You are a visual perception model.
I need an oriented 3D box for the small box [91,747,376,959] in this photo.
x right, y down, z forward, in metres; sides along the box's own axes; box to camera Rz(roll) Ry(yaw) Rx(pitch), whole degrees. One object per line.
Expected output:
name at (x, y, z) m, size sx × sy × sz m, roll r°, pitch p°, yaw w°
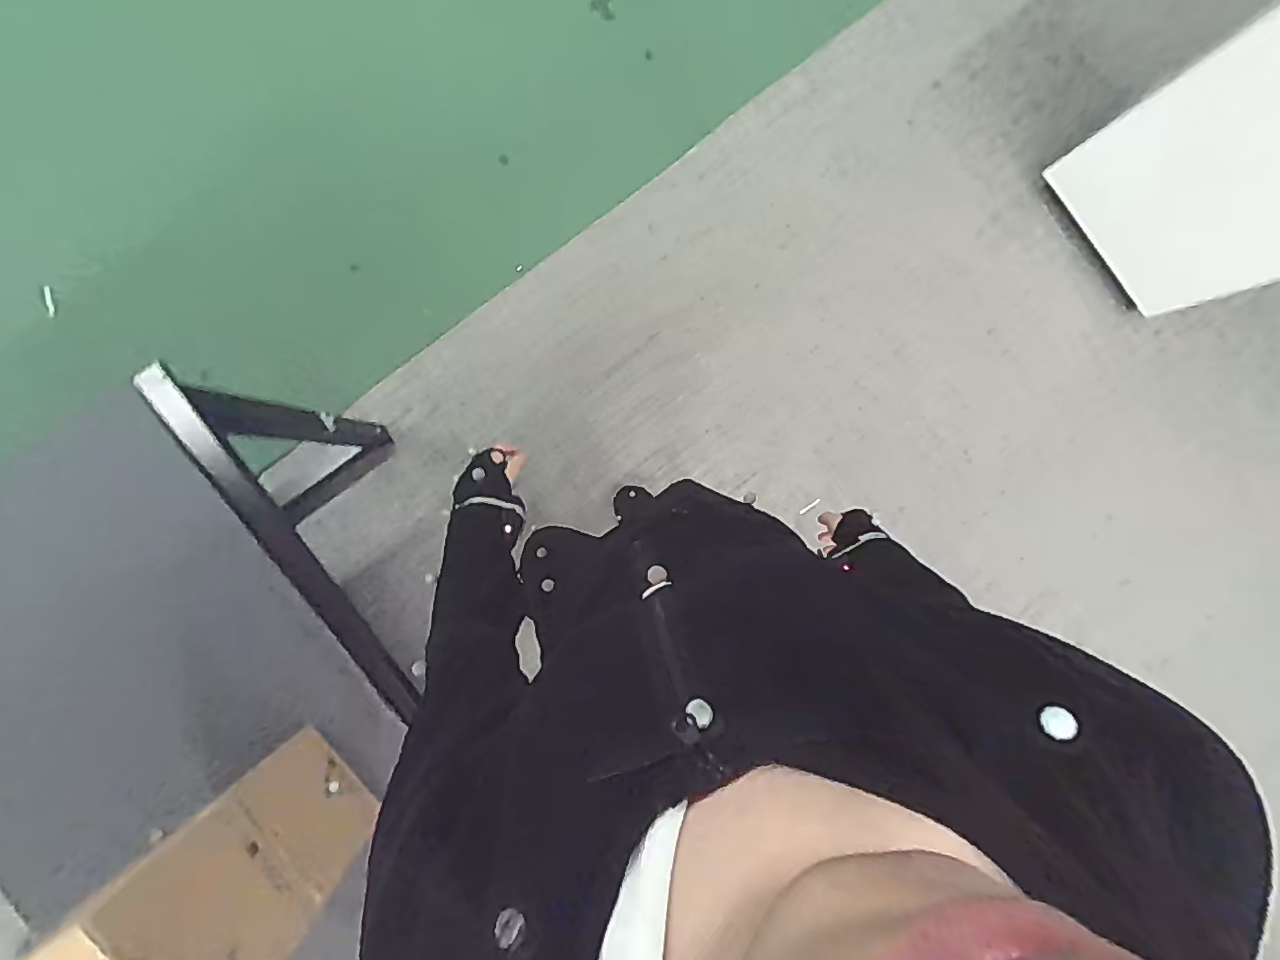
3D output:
small box at (-0.463, 0.470, 0.650) m, size 0.179 × 0.176 × 0.168 m, roll -40°, pitch 92°, yaw -2°
